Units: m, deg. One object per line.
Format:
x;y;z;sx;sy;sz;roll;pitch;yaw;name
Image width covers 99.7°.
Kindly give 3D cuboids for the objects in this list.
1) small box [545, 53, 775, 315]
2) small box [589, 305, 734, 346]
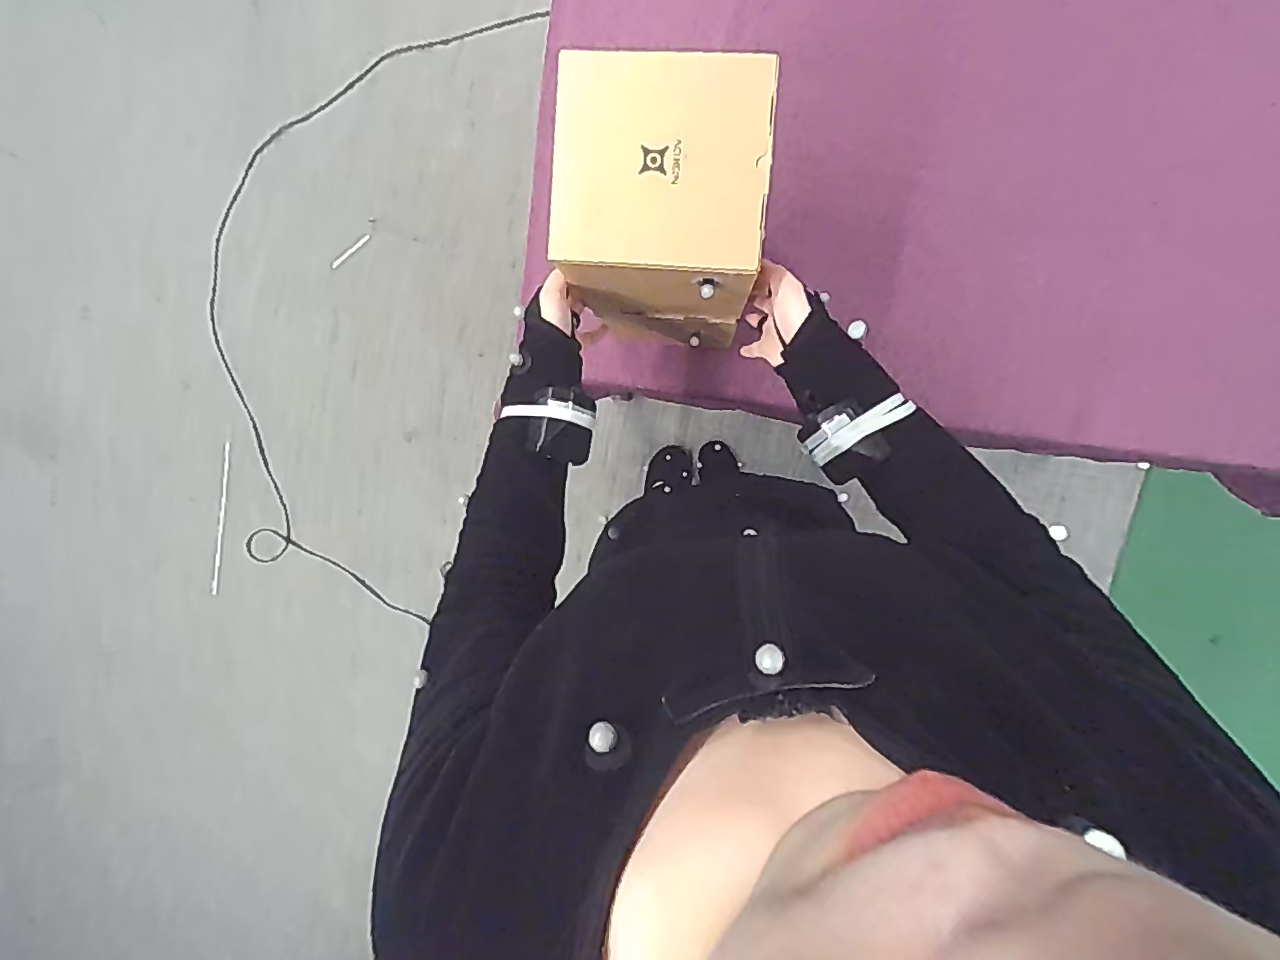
0.020;-0.261;0.515;0.179;0.176;0.168;5;95;4;small box
0.040;-0.271;0.676;0.168;0.176;0.179;7;94;4;small box
